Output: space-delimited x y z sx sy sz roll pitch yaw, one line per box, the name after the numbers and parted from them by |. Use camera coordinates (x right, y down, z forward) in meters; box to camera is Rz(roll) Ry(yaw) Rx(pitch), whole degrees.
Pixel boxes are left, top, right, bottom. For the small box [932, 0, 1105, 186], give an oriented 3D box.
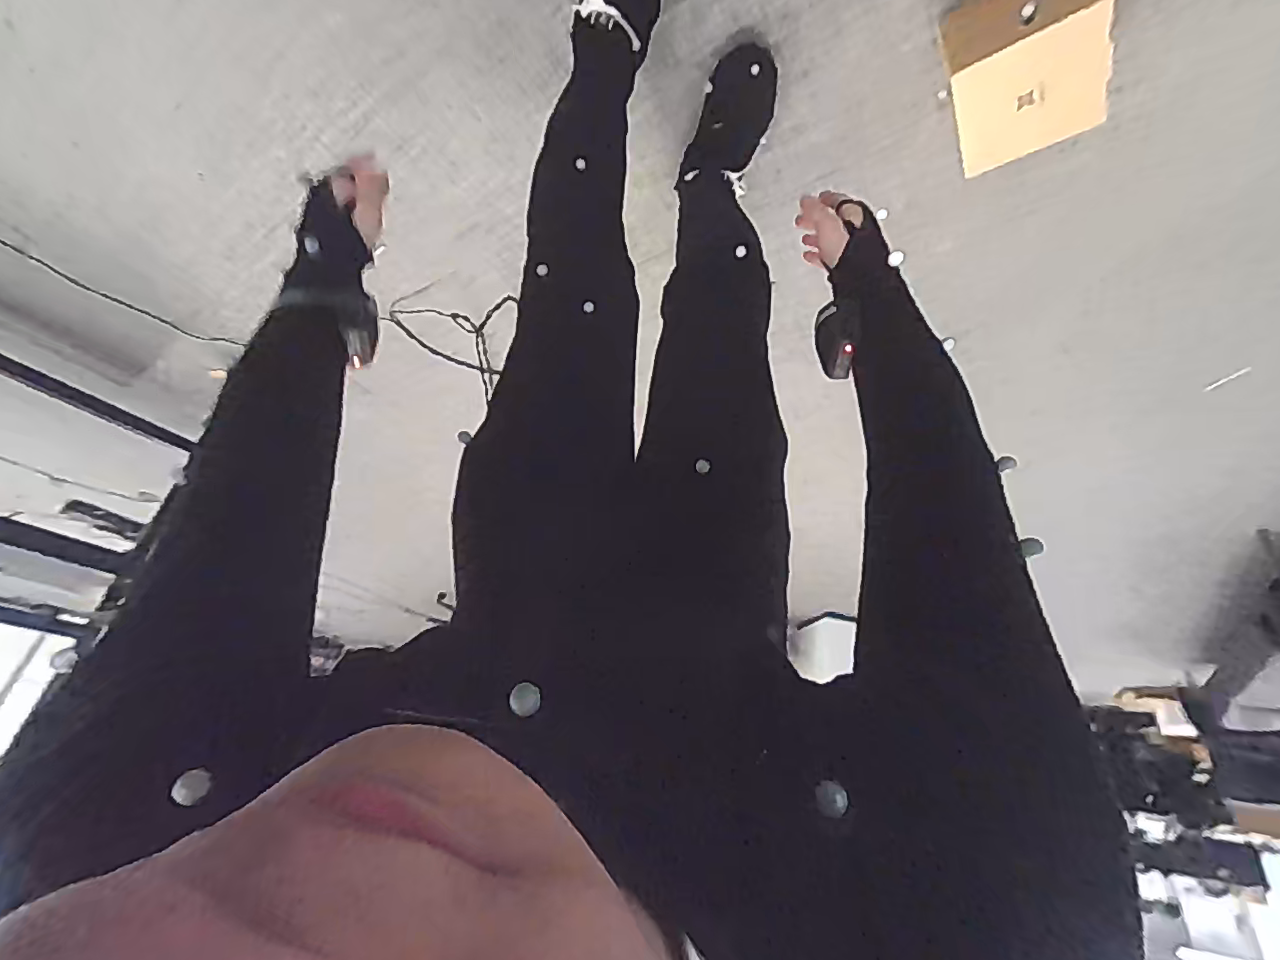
0.529 -0.576 0.778 0.179 0.176 0.168 -10 146 31 | small box
